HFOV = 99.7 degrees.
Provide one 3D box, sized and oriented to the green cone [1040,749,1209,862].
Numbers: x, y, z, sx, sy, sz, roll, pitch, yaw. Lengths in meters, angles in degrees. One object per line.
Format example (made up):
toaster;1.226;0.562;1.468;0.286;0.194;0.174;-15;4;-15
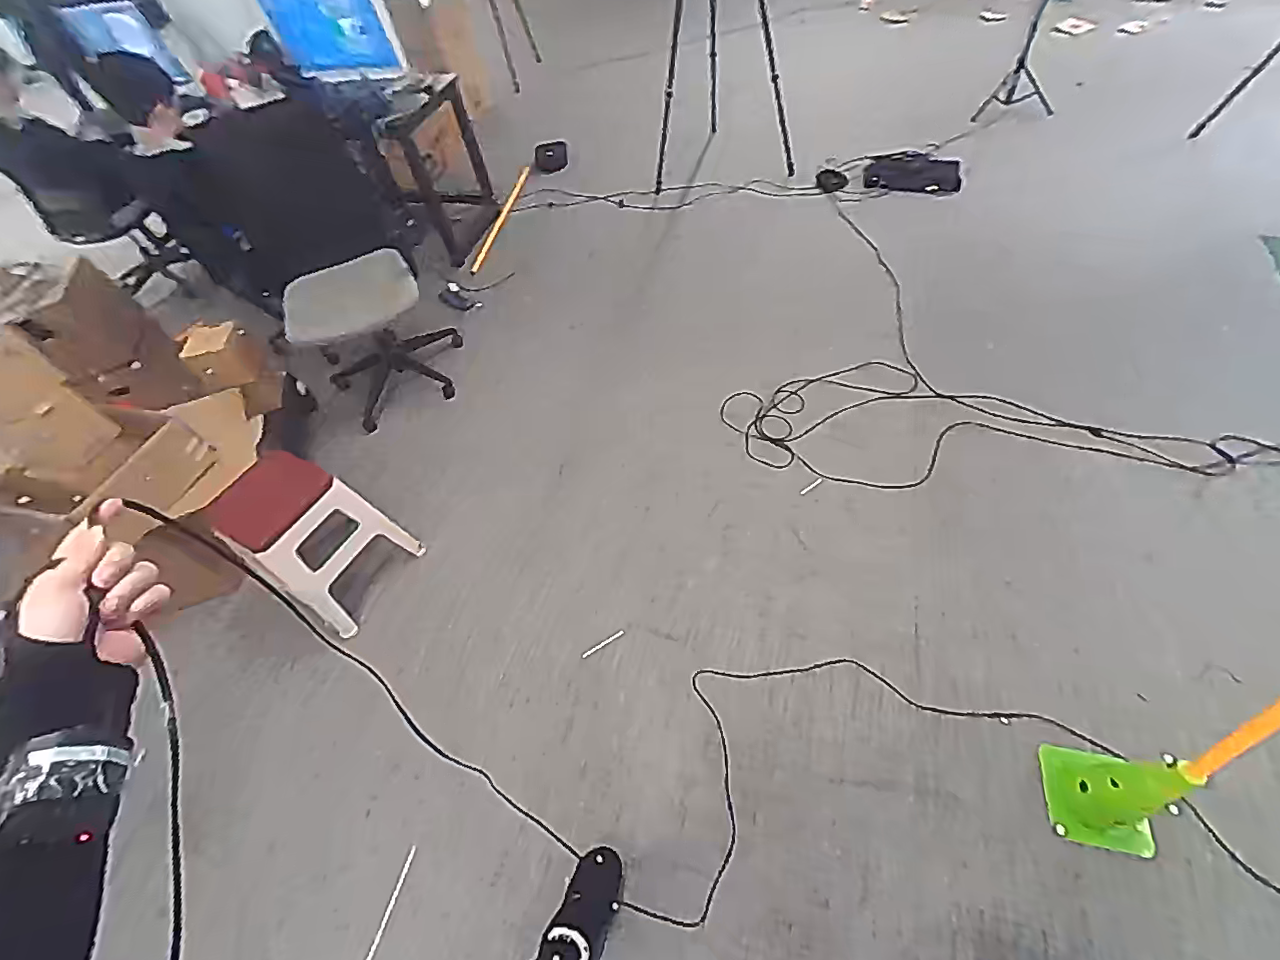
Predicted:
green cone;1.028;0.634;1.107;0.200;0.368;0.202;5;53;14
